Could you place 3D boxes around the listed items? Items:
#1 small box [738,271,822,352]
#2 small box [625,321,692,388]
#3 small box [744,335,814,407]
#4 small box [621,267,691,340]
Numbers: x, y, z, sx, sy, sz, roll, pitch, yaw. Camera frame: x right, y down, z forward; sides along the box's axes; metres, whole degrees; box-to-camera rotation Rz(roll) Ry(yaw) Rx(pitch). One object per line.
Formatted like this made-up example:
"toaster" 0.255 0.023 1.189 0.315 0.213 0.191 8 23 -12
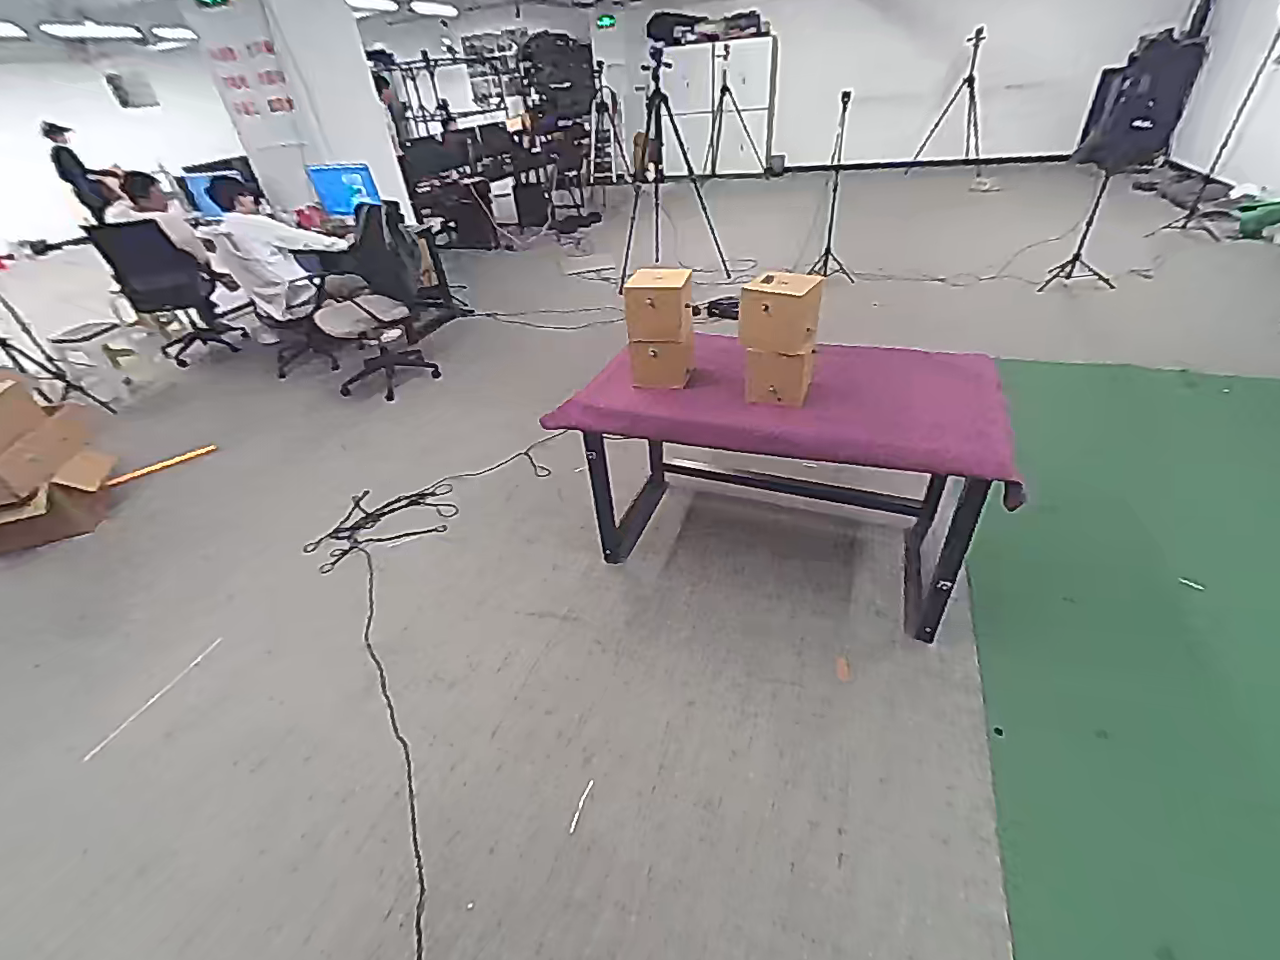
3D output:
"small box" 0.385 -0.470 1.510 0.179 0.176 0.168 19 44 29
"small box" 0.065 -0.409 1.746 0.179 0.176 0.168 7 40 16
"small box" 0.409 -0.339 1.606 0.168 0.176 0.179 11 40 22
"small box" 0.056 -0.534 1.644 0.179 0.176 0.168 5 39 15
